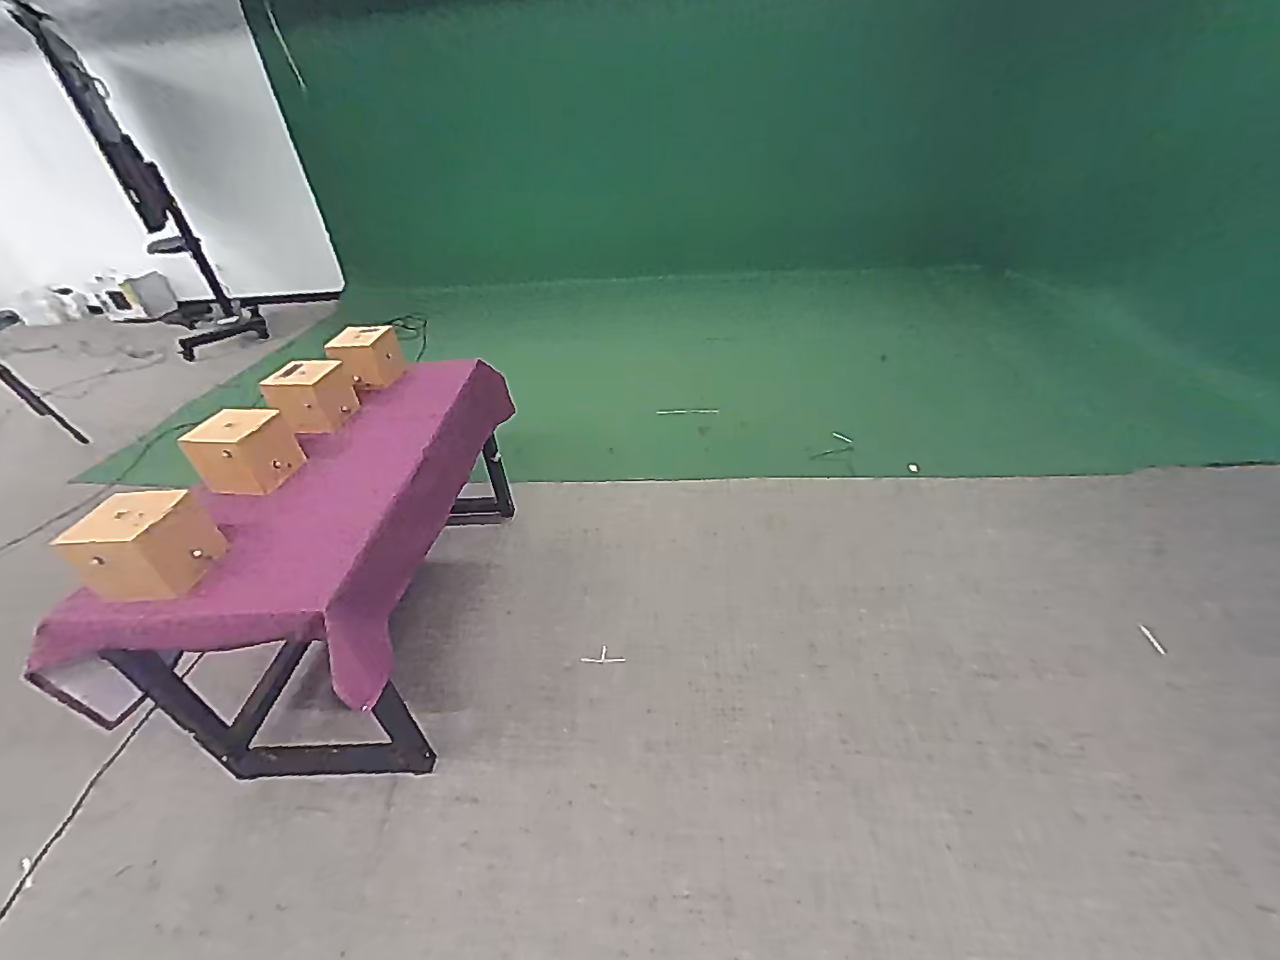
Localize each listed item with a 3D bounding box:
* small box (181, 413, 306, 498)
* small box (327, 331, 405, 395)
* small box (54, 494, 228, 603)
[{"bbox_3d":[-1.054,-0.066,1.453,0.179,0.176,0.168,3,37,9],"label":"small box"},{"bbox_3d":[-0.961,-0.417,1.919,0.168,0.176,0.179,-1,38,6],"label":"small box"},{"bbox_3d":[-1.046,0.147,1.153,0.179,0.176,0.168,-2,36,3],"label":"small box"}]
